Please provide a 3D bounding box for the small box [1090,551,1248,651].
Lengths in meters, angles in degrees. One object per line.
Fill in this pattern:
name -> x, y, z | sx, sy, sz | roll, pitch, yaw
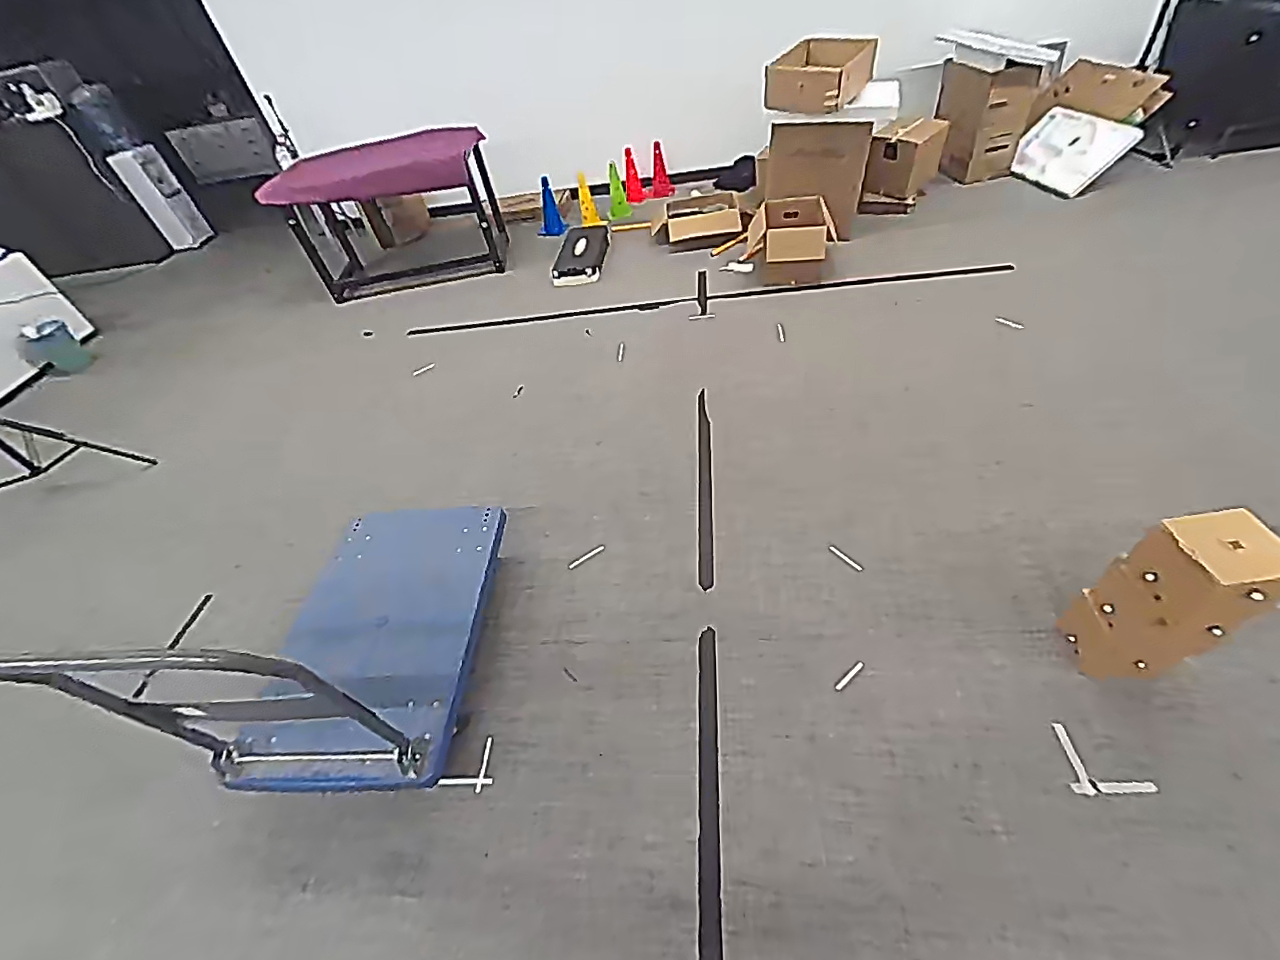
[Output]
small box -> 1.206, 0.282, 1.252 | 0.179, 0.176, 0.168 | -1, 45, 11

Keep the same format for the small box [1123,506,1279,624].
small box -> 1.182, 0.179, 1.127 | 0.179, 0.176, 0.168 | -9, 45, 3
